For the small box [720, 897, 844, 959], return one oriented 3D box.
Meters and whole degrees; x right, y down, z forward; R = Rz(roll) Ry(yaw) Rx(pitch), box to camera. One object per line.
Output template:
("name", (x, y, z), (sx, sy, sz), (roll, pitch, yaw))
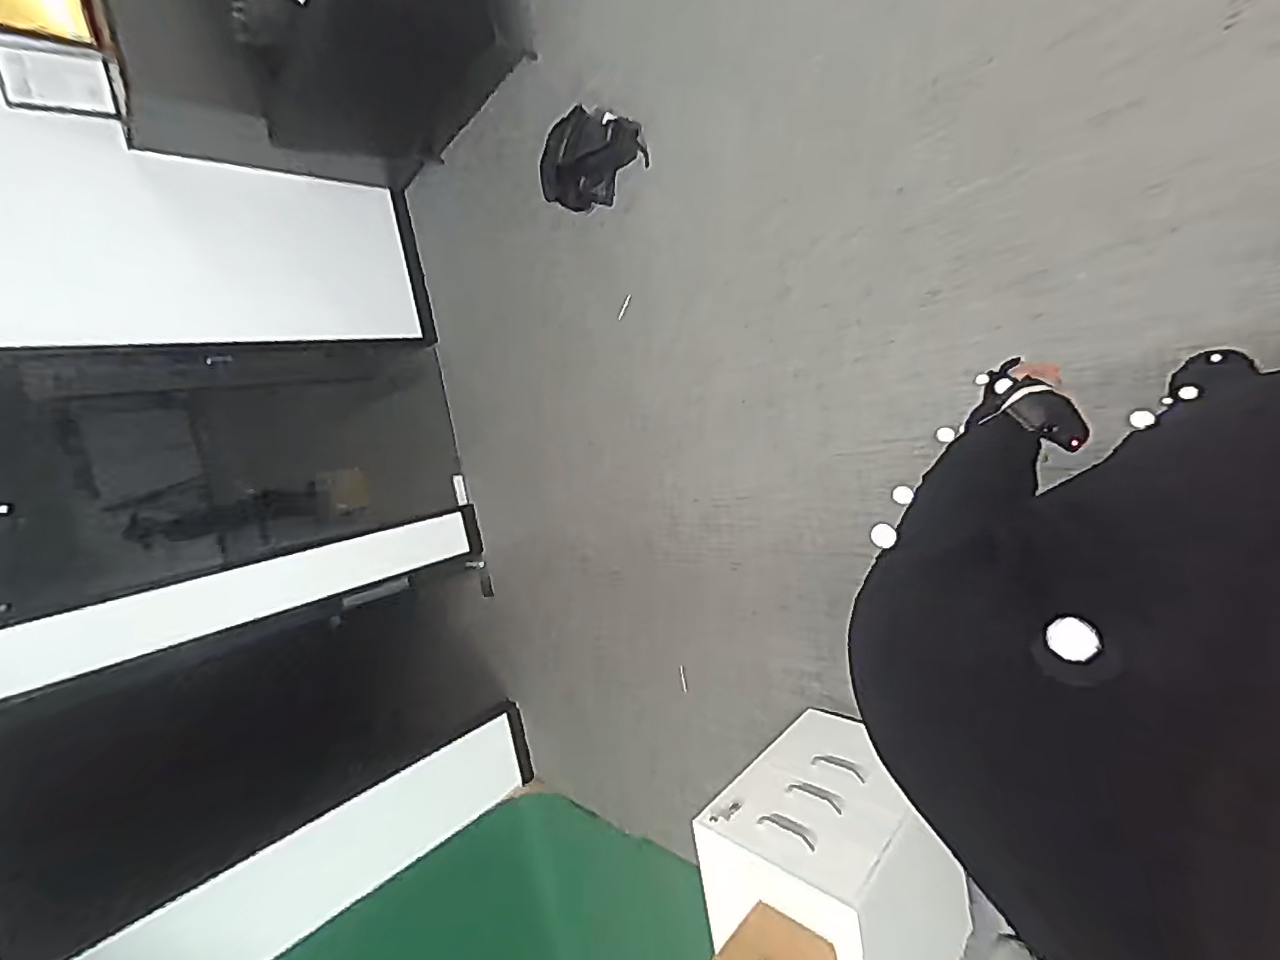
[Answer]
("small box", (0.287, 0.981, 1.065), (0.179, 0.176, 0.168), (-5, 98, 47))
